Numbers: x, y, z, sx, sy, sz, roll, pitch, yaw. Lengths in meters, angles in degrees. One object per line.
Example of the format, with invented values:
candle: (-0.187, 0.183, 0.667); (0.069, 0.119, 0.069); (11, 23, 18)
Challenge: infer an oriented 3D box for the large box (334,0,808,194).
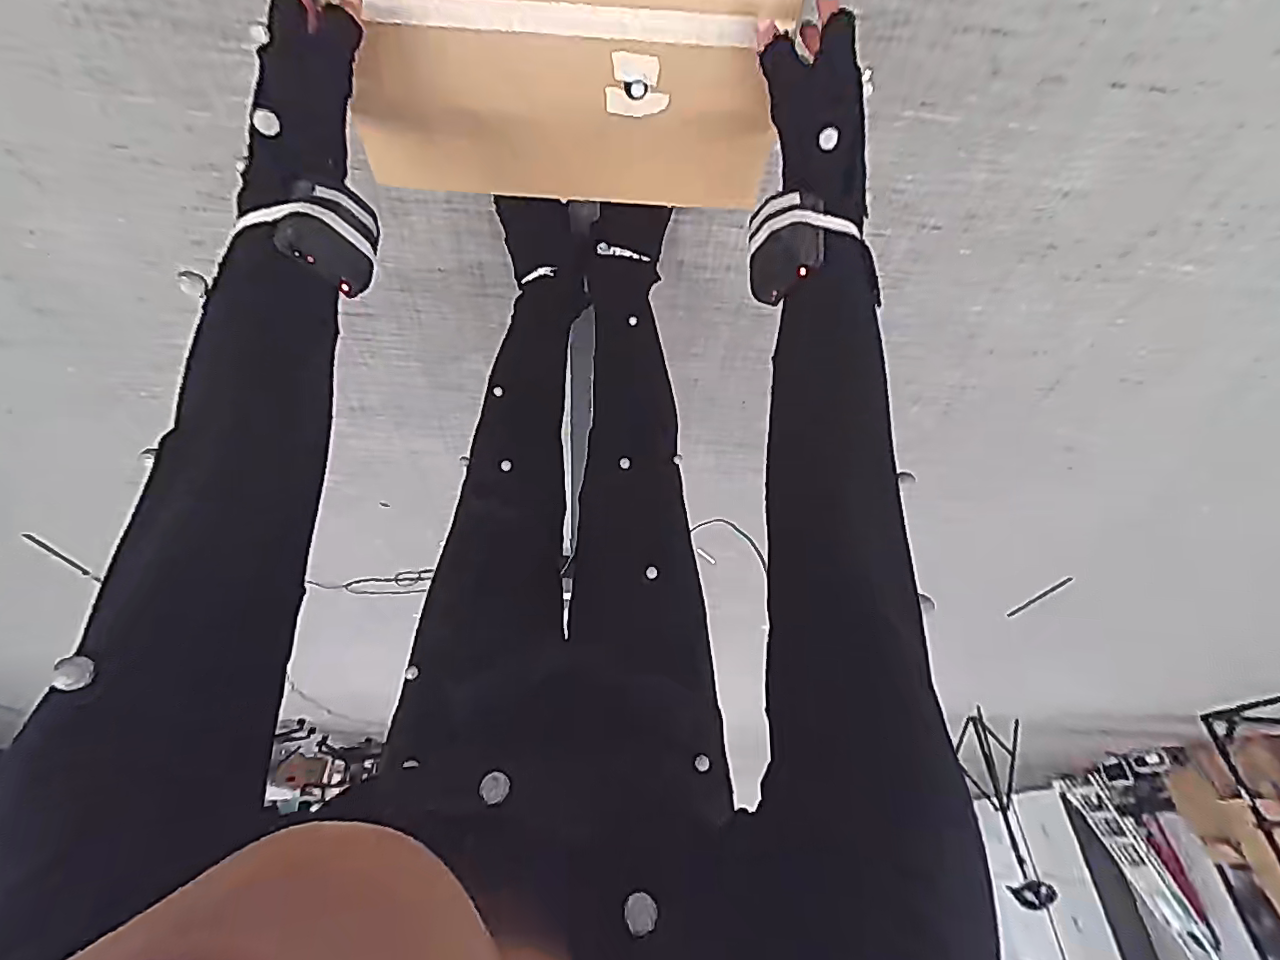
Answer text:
large box: (-0.061, -0.520, 0.539); (0.408, 0.320, 0.320); (1, 145, -3)
